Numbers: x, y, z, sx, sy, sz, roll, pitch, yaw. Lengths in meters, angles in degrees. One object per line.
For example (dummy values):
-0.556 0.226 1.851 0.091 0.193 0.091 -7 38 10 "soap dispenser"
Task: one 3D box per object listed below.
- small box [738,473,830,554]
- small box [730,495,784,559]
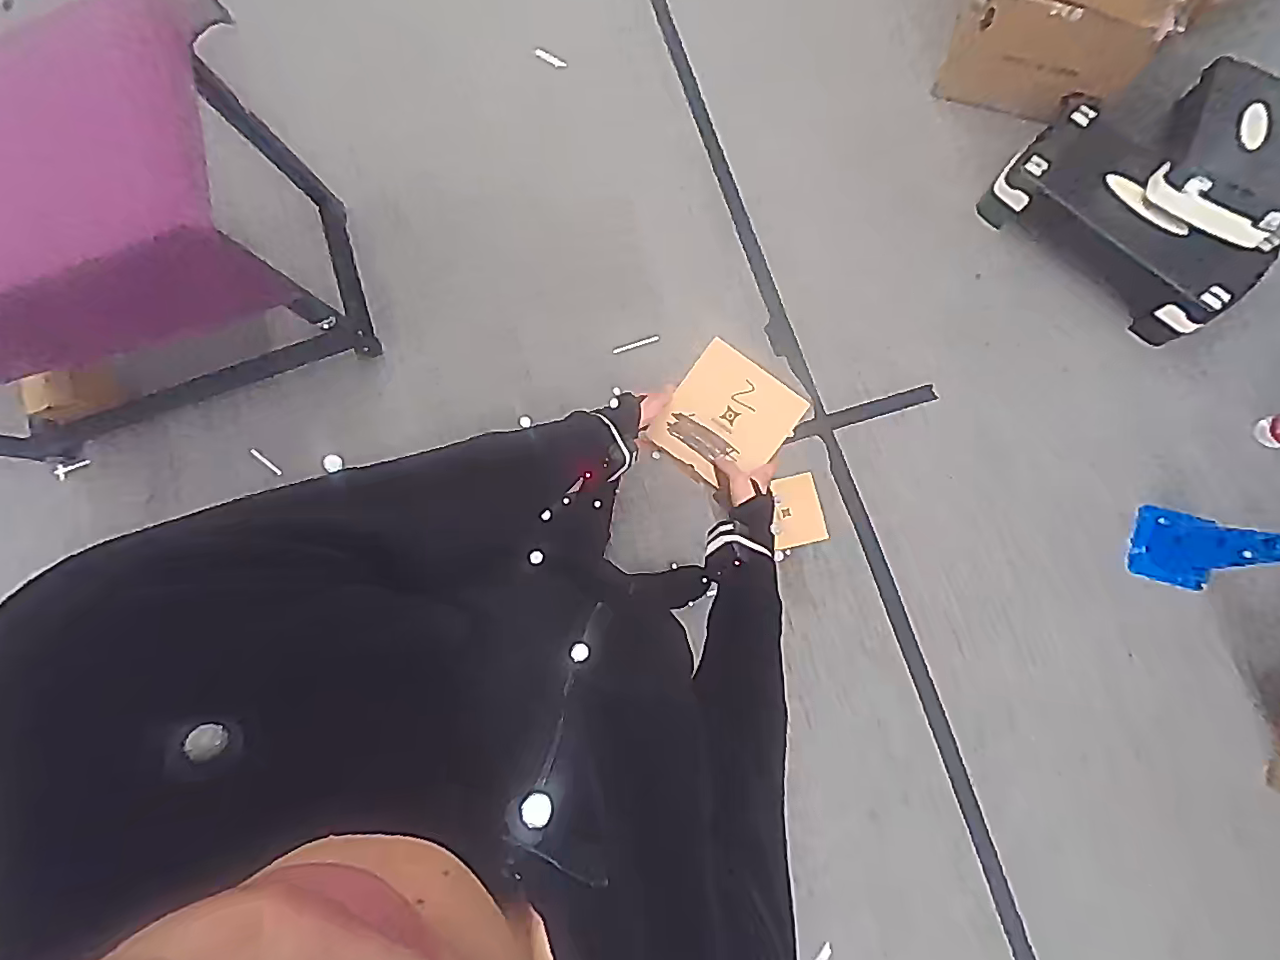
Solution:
0.354 0.086 1.362 0.179 0.176 0.168 -14 83 5 "small box"
0.359 0.113 1.523 0.168 0.176 0.179 -18 81 3 "small box"
